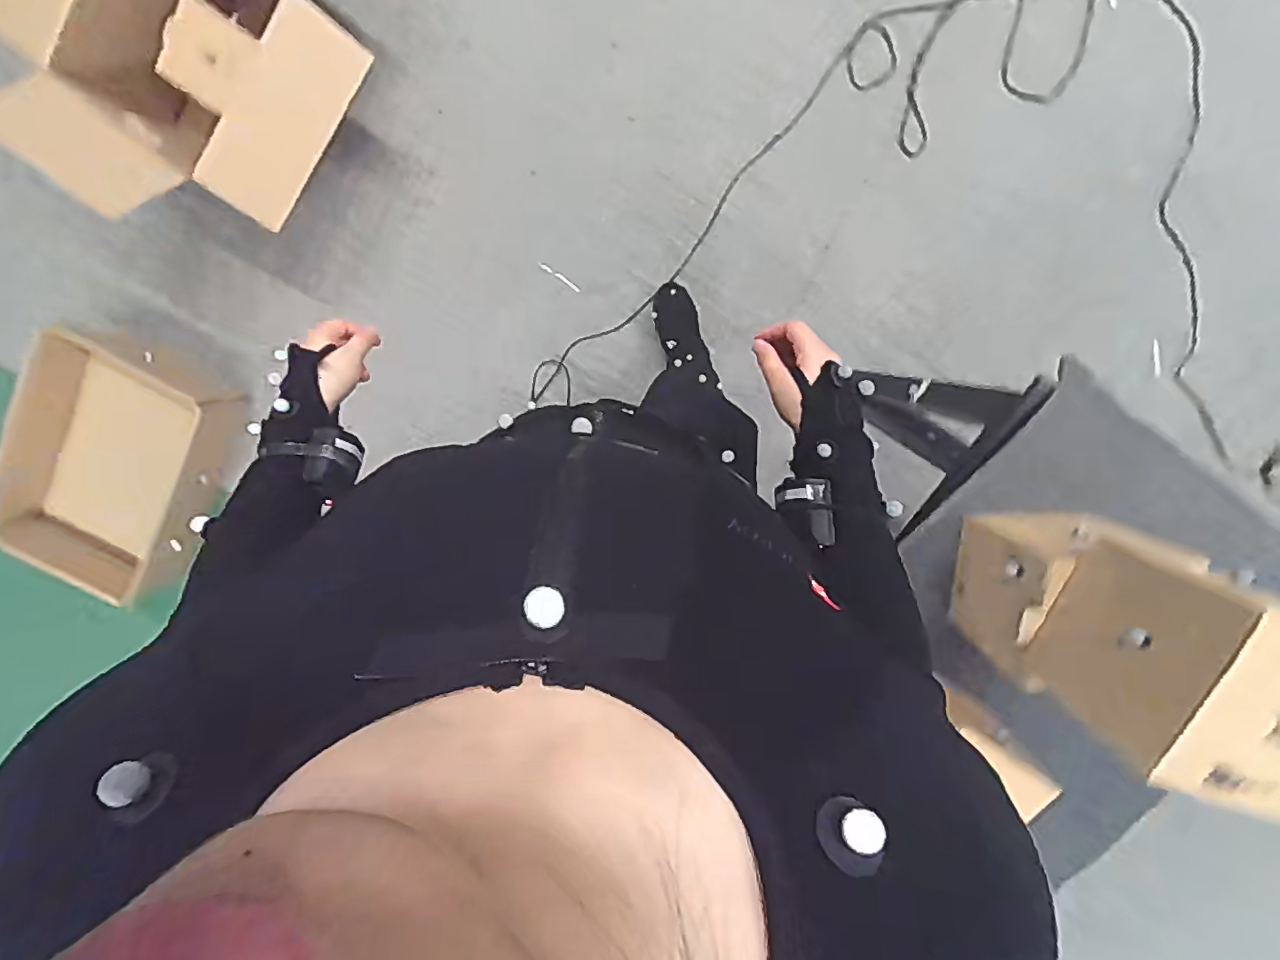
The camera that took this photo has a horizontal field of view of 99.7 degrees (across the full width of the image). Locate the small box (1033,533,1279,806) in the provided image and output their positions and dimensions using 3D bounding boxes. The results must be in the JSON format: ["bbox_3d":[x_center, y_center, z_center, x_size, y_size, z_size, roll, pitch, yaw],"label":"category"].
[{"bbox_3d":[0.539,0.171,0.525,0.168,0.176,0.179,19,103,-4],"label":"small box"}]

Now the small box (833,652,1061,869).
[{"bbox_3d":[0.406,0.373,0.748,0.179,0.176,0.168,36,101,-8],"label":"small box"}]
